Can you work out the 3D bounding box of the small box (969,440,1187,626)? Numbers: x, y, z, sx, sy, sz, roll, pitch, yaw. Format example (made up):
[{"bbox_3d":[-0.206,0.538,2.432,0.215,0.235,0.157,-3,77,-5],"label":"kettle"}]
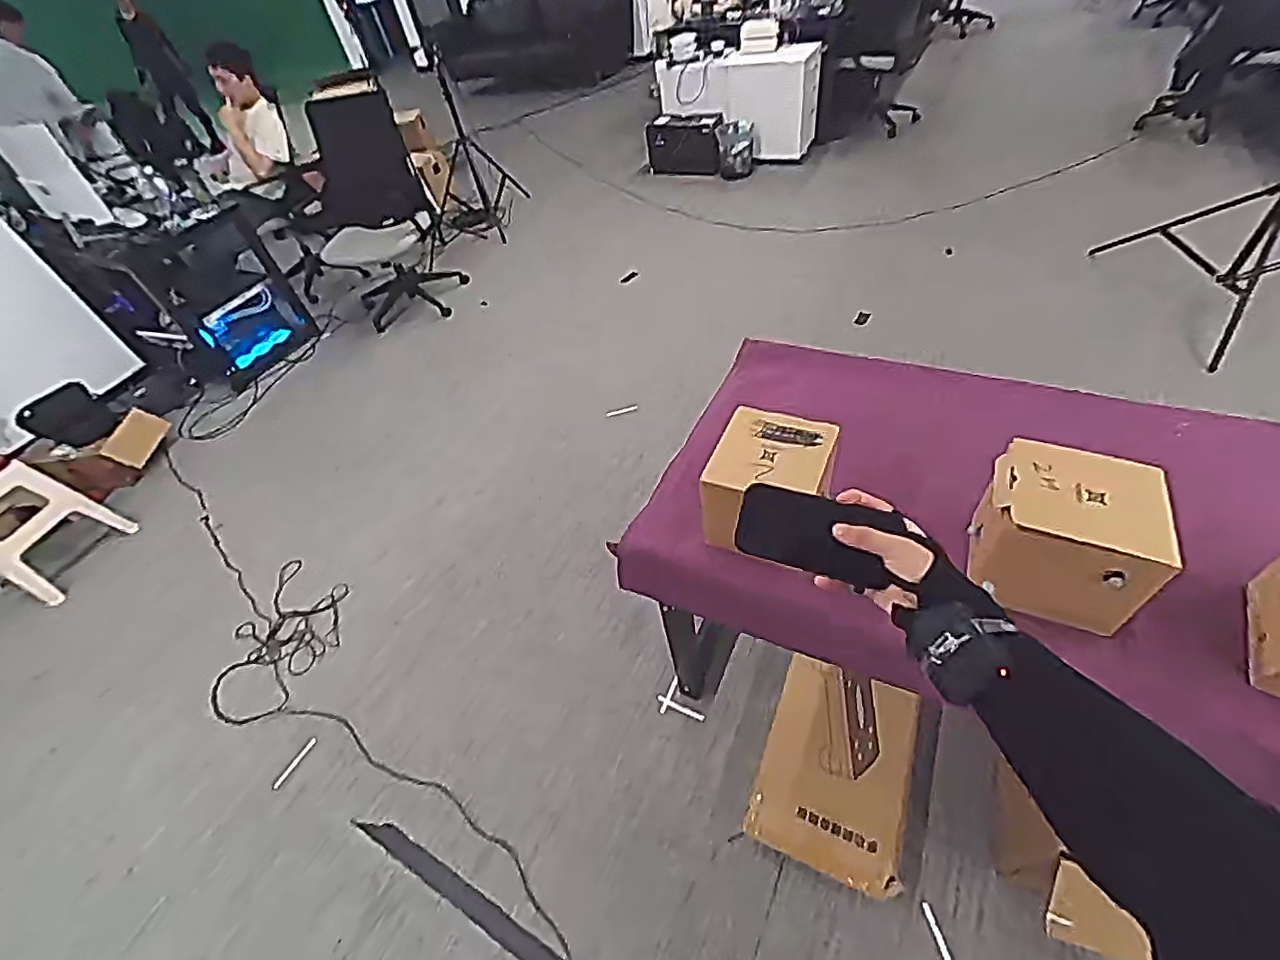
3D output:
[{"bbox_3d":[0.578,0.074,0.737,0.179,0.176,0.168,15,51,23],"label":"small box"}]

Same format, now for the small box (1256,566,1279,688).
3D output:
[{"bbox_3d":[0.850,0.167,0.601,0.179,0.176,0.168,22,56,27],"label":"small box"}]
